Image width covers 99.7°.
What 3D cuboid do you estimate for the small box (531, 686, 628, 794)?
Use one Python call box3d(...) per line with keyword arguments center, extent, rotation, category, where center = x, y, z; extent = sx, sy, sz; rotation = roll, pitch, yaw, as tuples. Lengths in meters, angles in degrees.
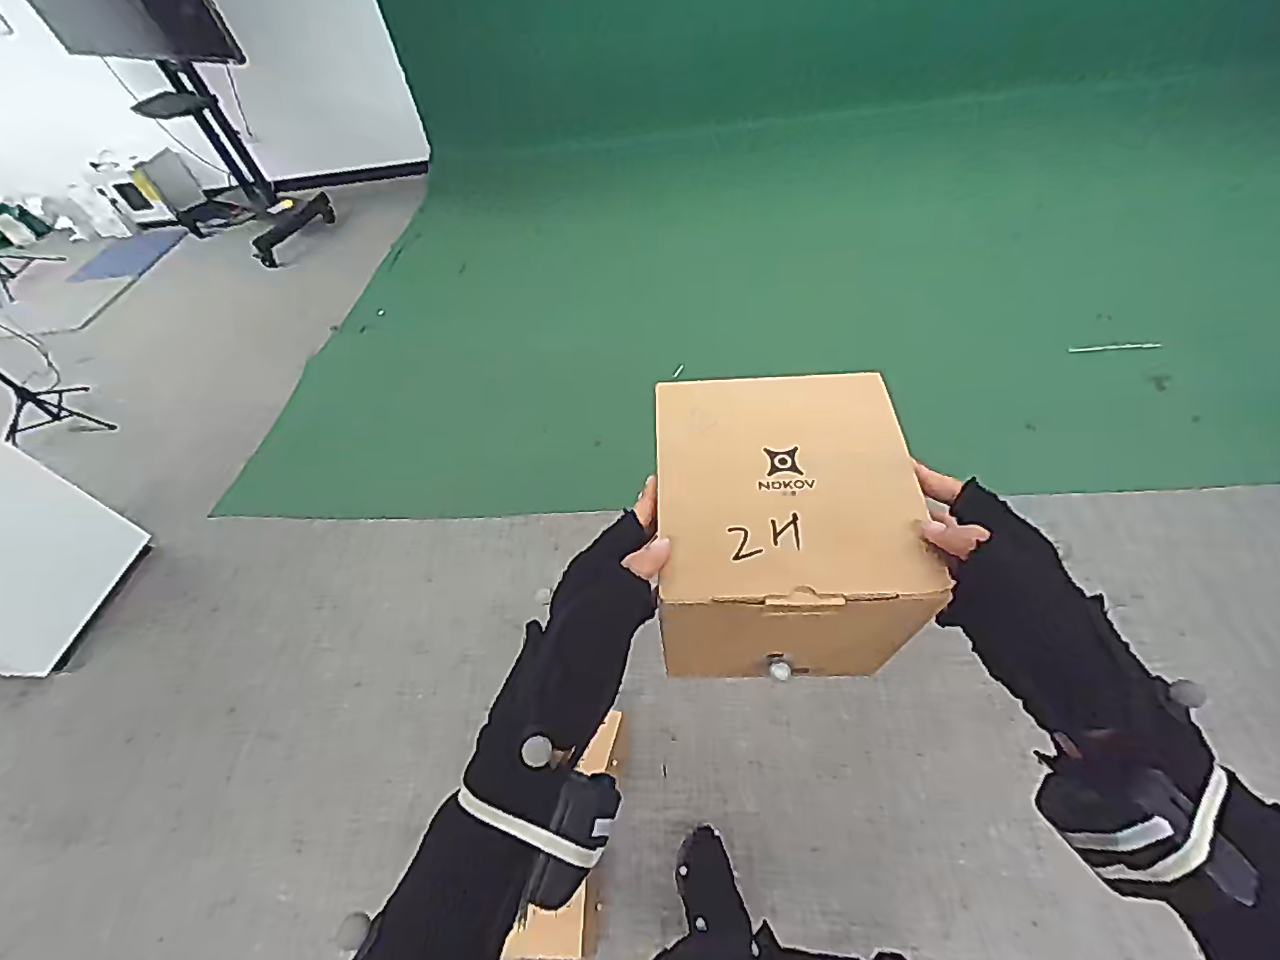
box3d(center=(-0.134, 0.626, 1.294), extent=(0.168, 0.176, 0.179), rotation=(10, 53, 15), category="small box")
